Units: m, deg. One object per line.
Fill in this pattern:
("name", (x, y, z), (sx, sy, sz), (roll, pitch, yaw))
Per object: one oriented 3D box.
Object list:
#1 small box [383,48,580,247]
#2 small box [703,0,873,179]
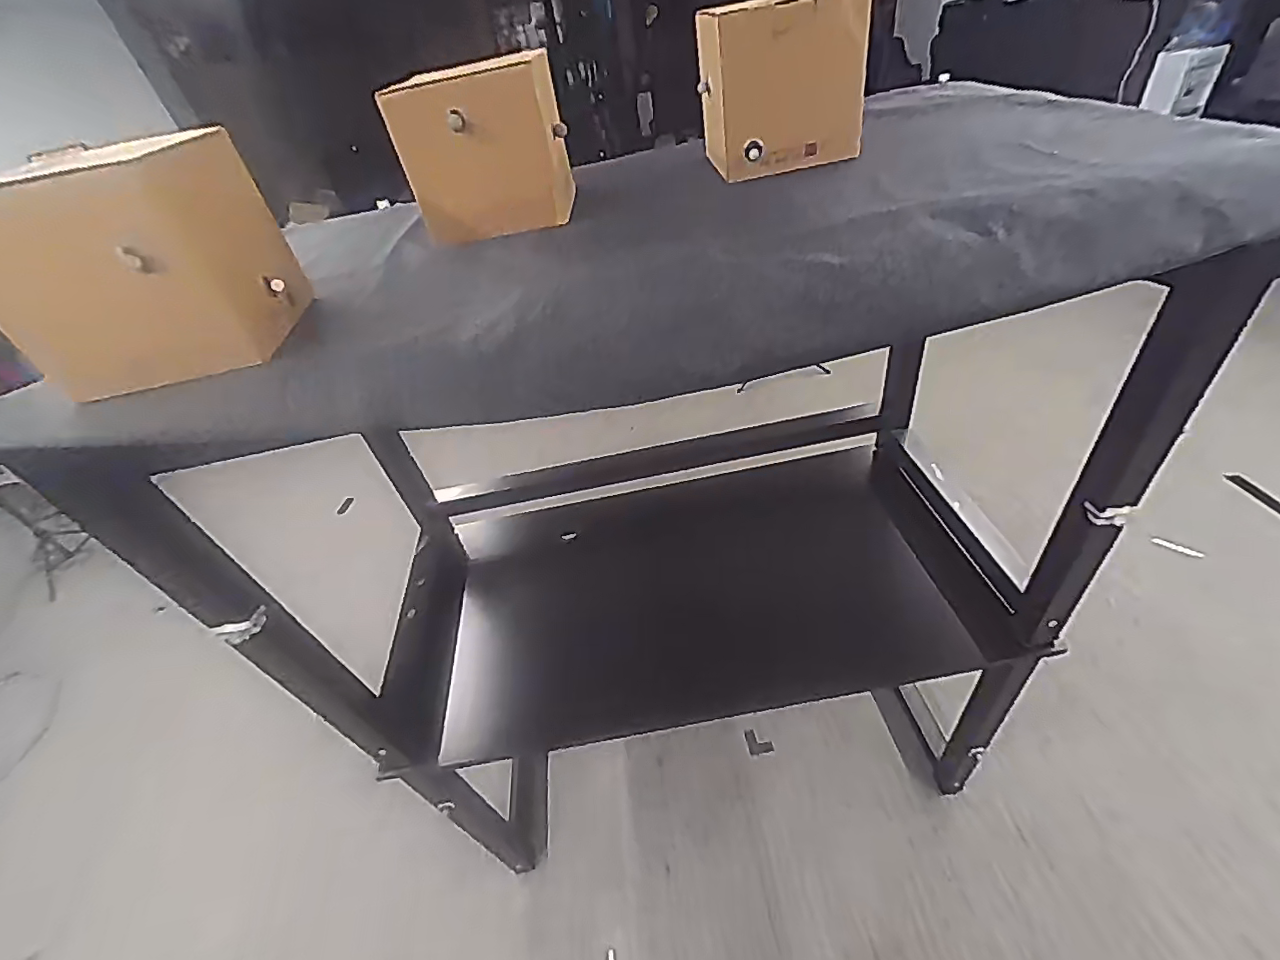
("small box", (-0.179, -0.416, 0.681), (0.179, 0.176, 0.168), (-8, 42, 6))
("small box", (0.179, -0.498, 0.684), (0.168, 0.176, 0.179), (-9, 41, 4))
